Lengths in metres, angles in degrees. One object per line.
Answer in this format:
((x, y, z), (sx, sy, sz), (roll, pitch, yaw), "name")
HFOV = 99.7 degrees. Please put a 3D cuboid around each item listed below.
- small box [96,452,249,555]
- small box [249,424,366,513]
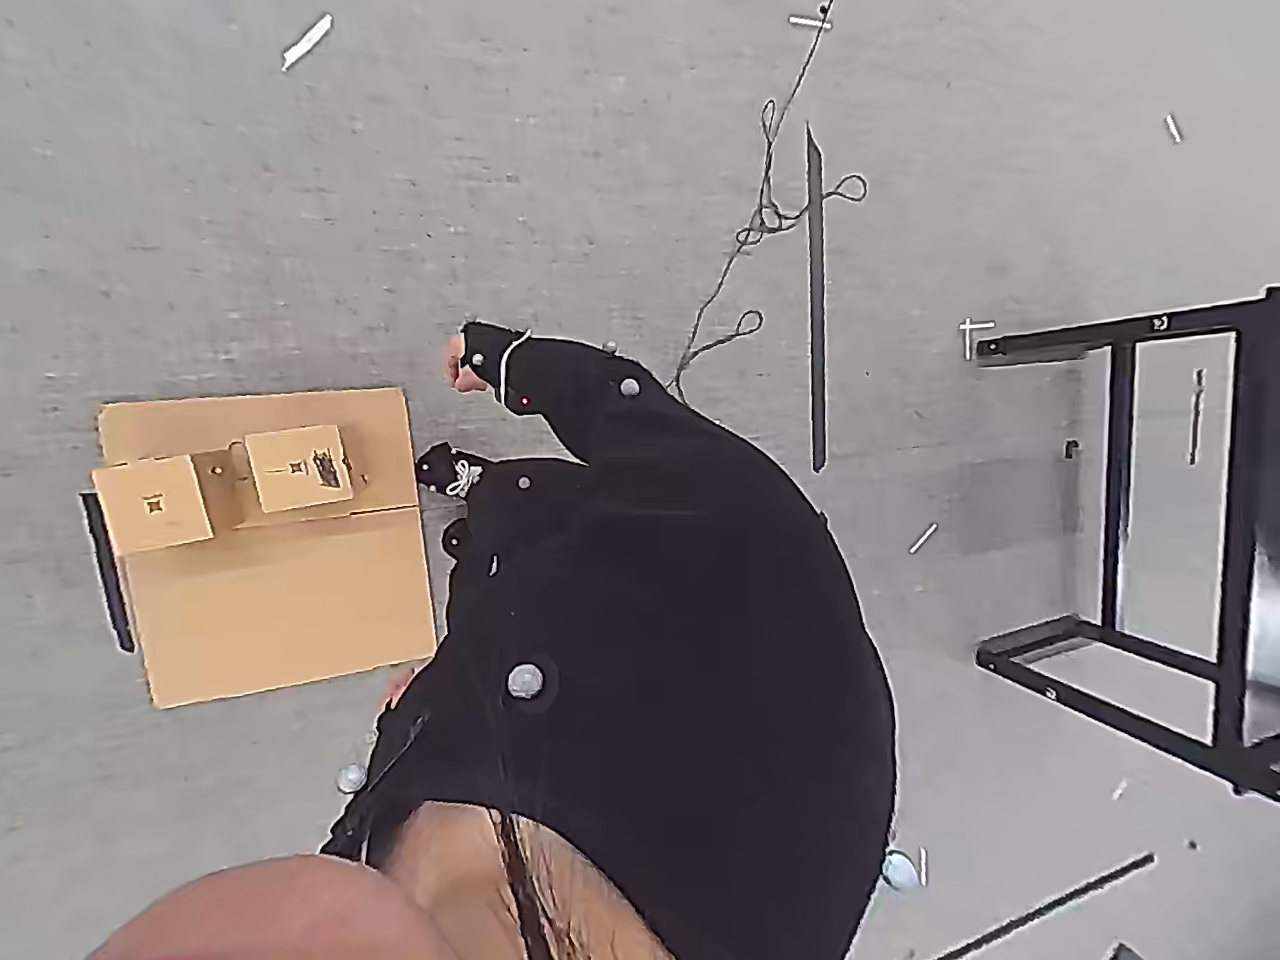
((-0.962, 0.039, 1.131), (0.168, 0.176, 0.179), (-12, 100, -15), "small box")
((-0.722, -0.033, 1.198), (0.179, 0.176, 0.168), (-10, 99, -16), "small box")
